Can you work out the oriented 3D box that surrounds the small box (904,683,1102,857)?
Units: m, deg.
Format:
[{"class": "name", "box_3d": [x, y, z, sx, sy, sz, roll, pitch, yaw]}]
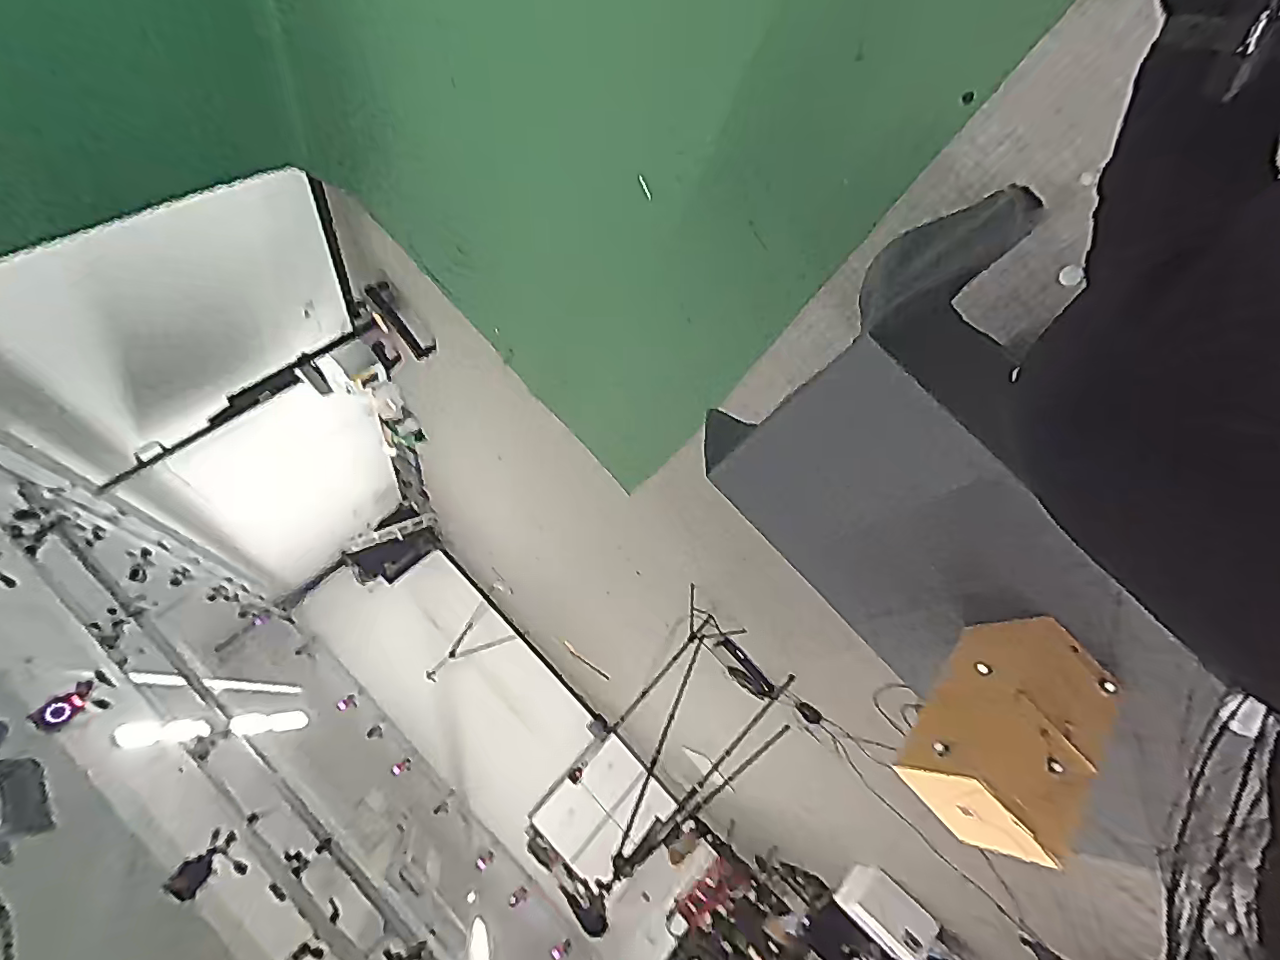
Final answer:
[{"class": "small box", "box_3d": [0.576, 0.445, 0.863, 0.168, 0.176, 0.179, 46, 153, 4]}]

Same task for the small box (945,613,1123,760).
[{"class": "small box", "box_3d": [0.684, 0.350, 0.937, 0.168, 0.176, 0.179, 46, 154, 5]}]
